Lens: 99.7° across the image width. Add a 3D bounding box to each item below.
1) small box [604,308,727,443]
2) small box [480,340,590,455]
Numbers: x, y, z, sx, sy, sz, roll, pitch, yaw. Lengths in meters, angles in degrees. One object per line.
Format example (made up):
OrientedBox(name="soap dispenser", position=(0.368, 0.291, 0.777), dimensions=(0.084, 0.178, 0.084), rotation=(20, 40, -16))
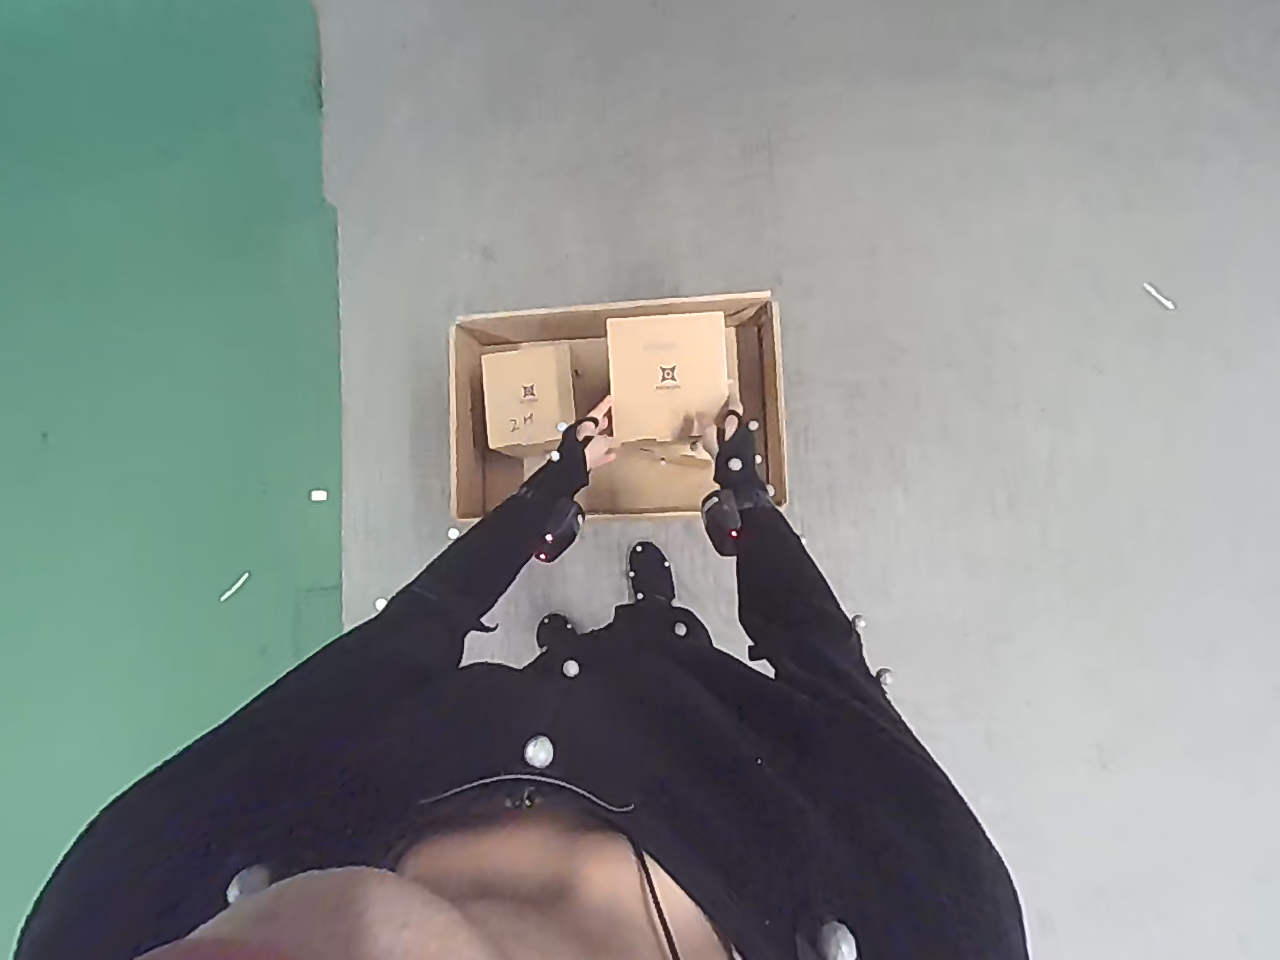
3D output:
OrientedBox(name="small box", position=(0.037, -0.147, 0.817), dimensions=(0.168, 0.176, 0.179), rotation=(-3, 91, 1))
OrientedBox(name="small box", position=(-0.195, -0.151, 1.038), dimensions=(0.168, 0.176, 0.179), rotation=(-6, 86, 5))
